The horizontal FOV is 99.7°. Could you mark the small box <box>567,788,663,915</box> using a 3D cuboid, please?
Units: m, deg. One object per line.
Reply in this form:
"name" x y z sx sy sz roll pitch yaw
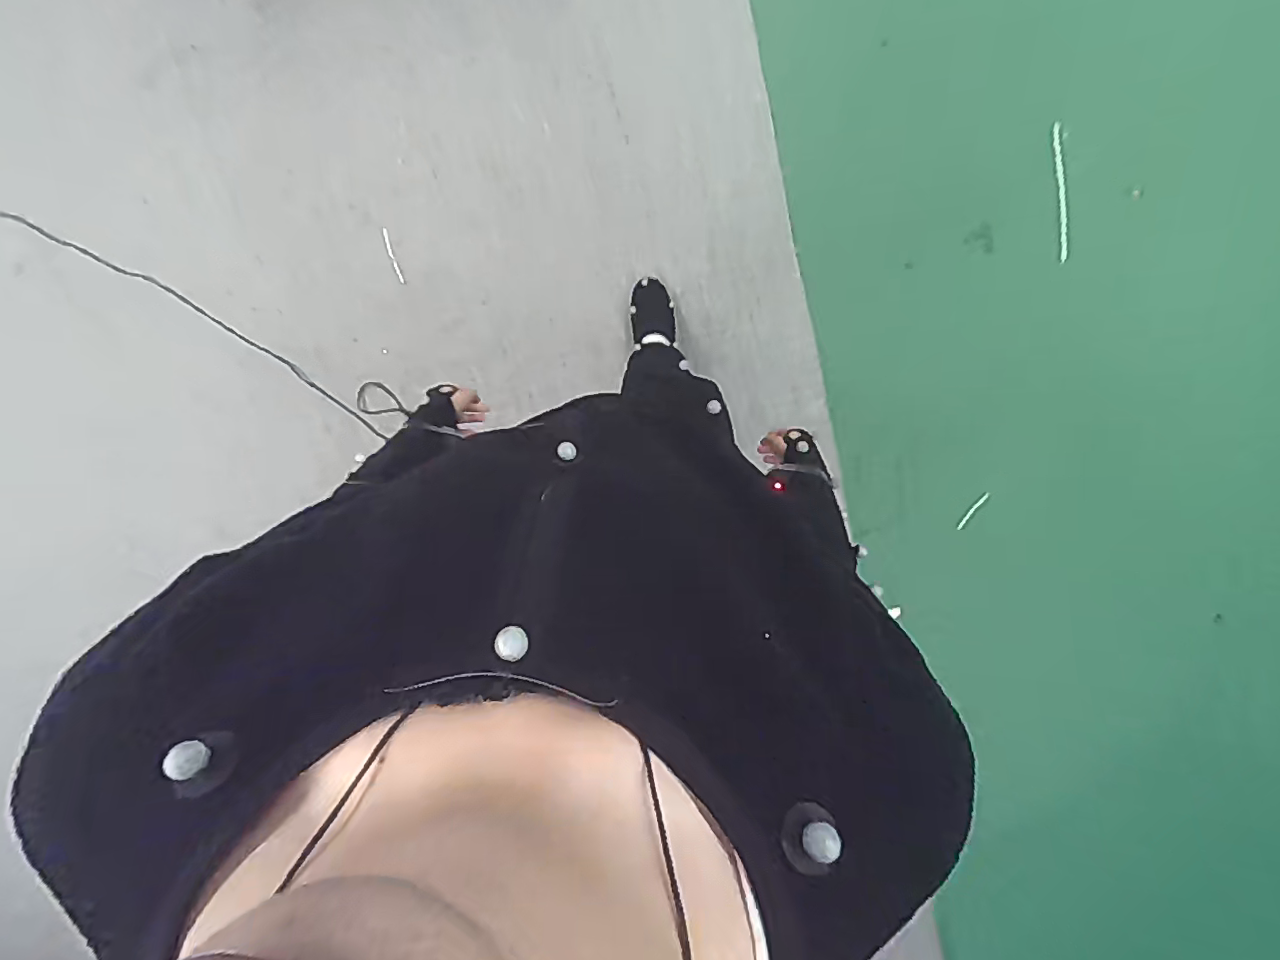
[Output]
"small box" -0.048 0.830 1.198 0.168 0.176 0.179 -16 102 4
